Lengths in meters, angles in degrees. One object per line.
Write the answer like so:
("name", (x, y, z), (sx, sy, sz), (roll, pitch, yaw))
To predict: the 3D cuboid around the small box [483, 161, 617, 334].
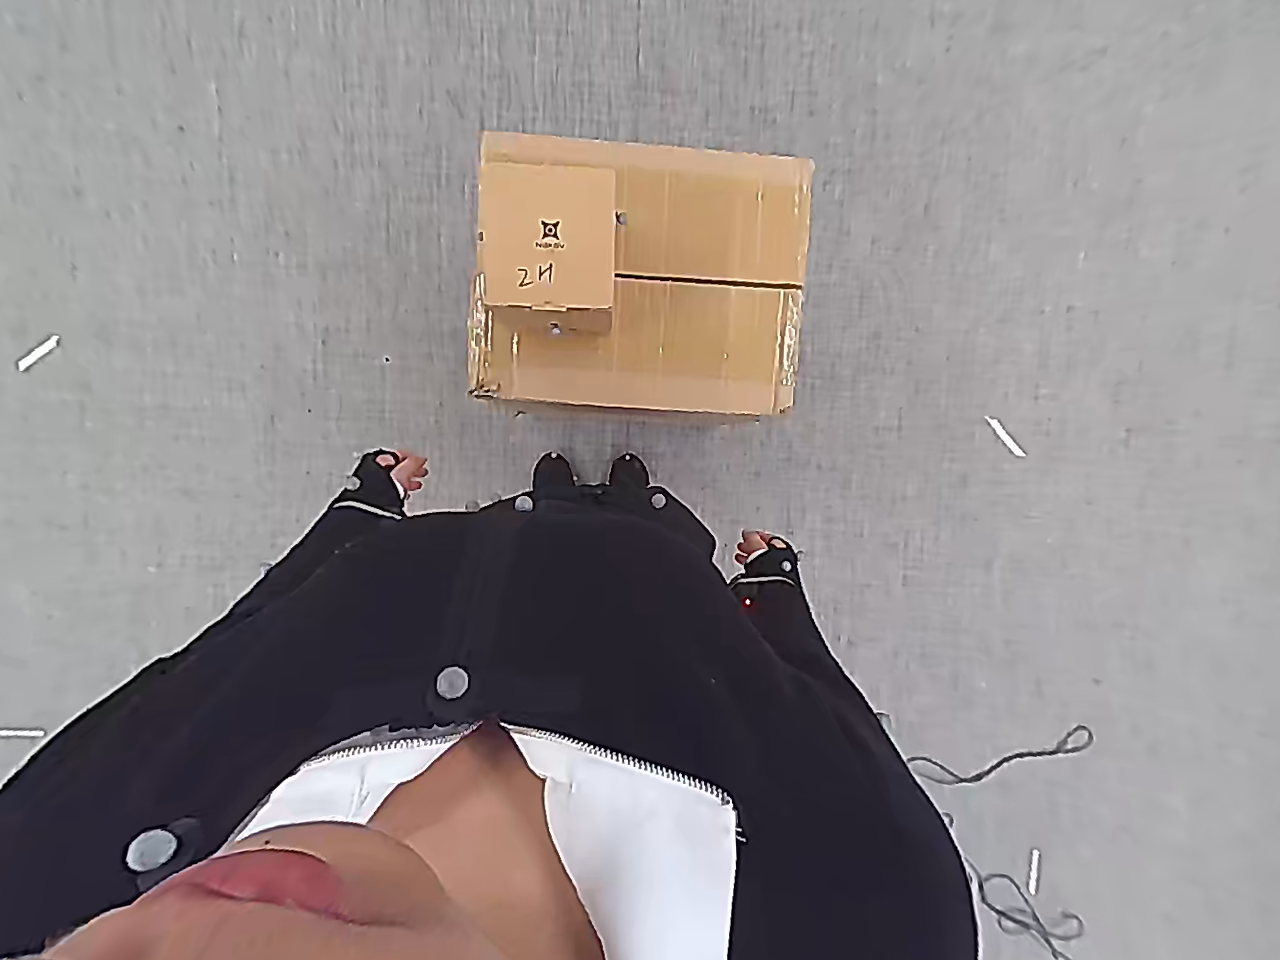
("small box", (-0.120, -0.313, 0.758), (0.168, 0.176, 0.179), (1, 95, -4))
